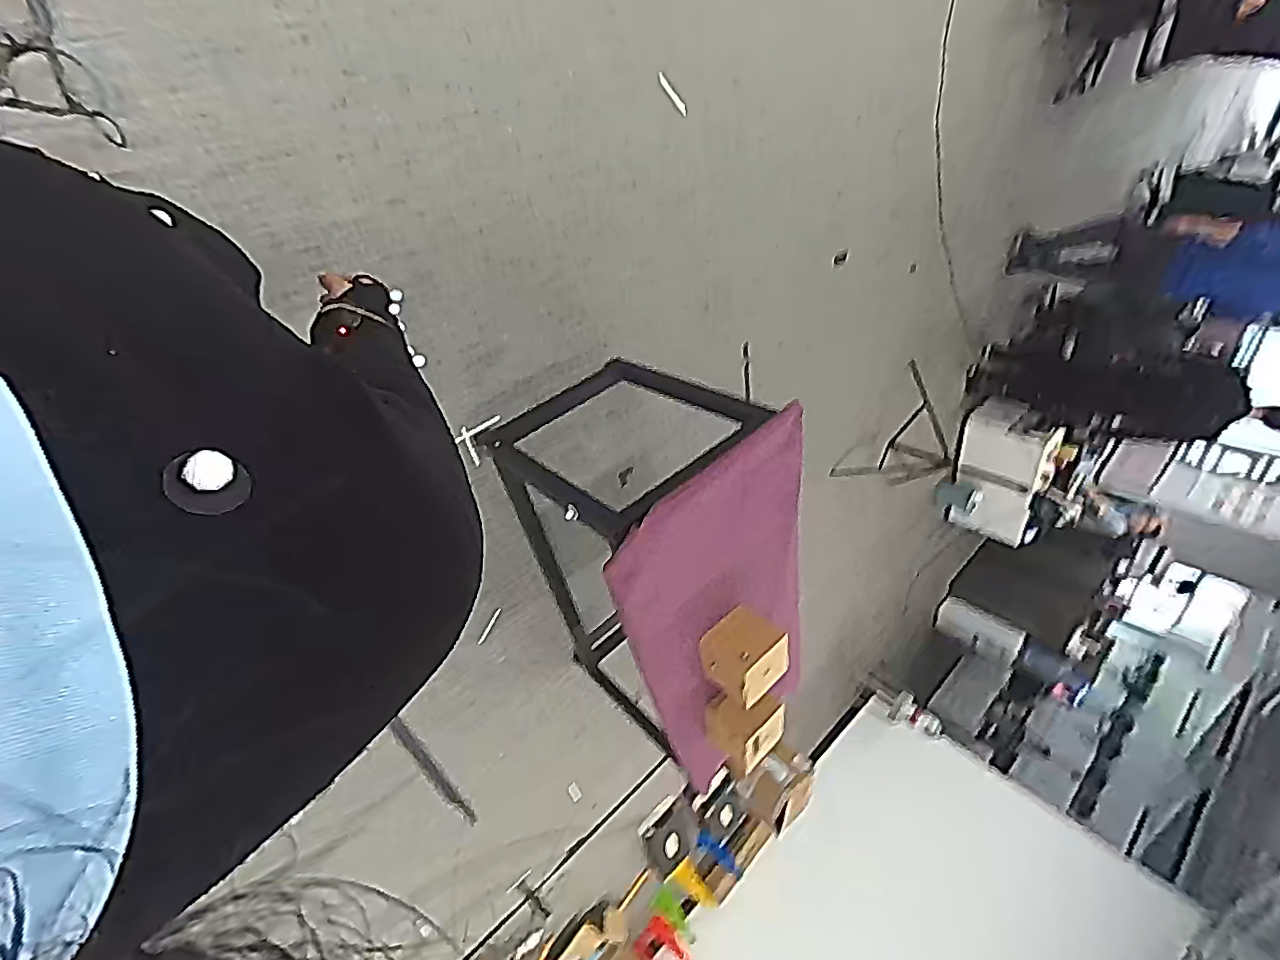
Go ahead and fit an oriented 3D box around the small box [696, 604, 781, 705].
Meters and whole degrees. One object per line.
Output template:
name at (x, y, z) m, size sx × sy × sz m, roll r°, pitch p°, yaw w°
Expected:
small box at (0.282, 0.488, 1.538) m, size 0.179 × 0.176 × 0.168 m, roll -32°, pitch 130°, yaw -27°
